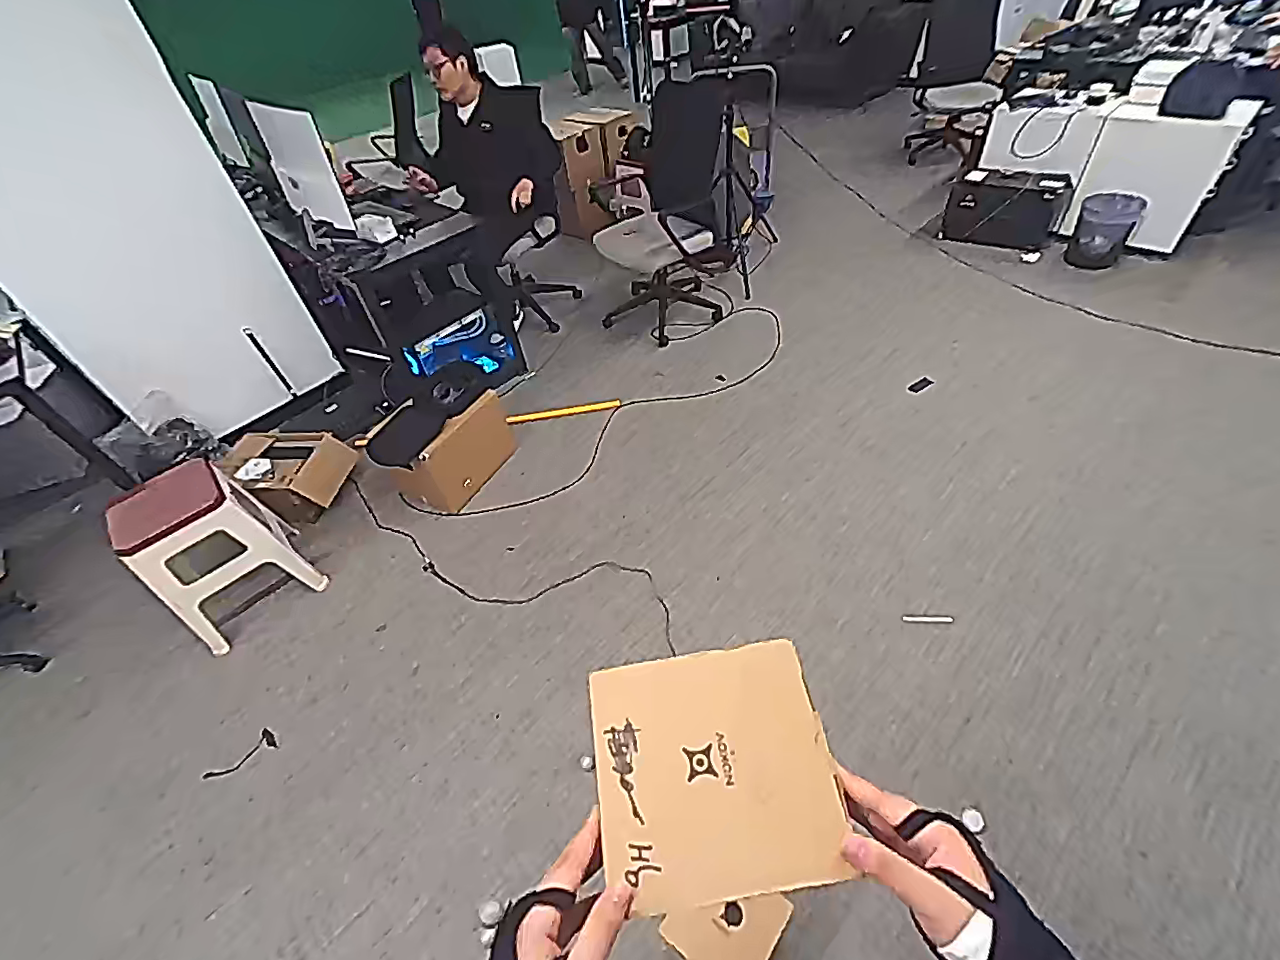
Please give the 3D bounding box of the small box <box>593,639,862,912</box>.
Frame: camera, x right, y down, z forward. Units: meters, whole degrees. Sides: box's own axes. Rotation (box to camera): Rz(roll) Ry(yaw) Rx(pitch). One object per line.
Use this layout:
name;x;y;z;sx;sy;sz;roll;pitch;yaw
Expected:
small box;0.060;0.259;0.472;0.179;0.176;0.168;-9;51;-2

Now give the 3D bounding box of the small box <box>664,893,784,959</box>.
small box;0.168;0.914;1.092;0.168;0.176;0.179;30;58;31
